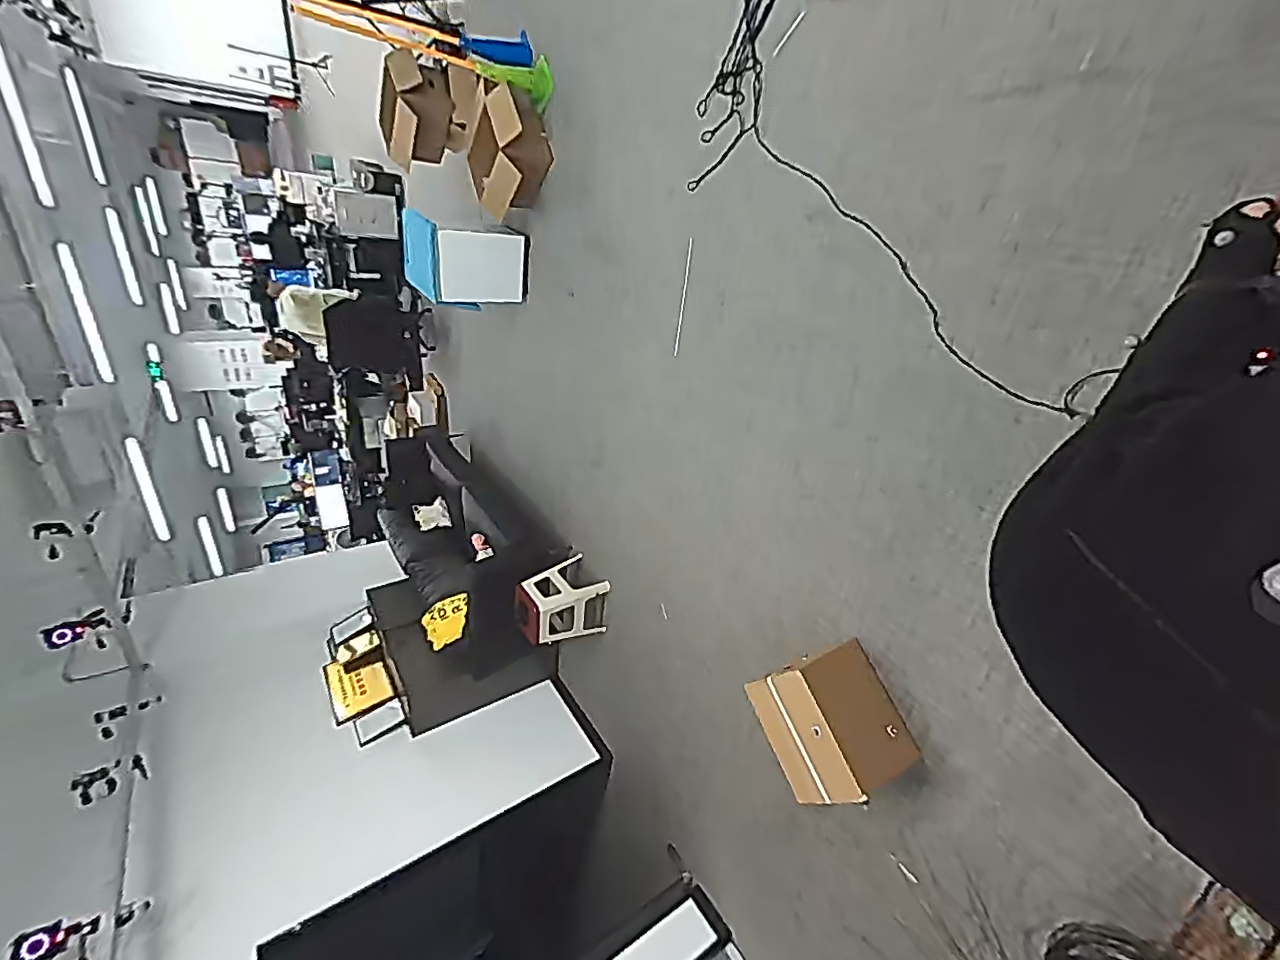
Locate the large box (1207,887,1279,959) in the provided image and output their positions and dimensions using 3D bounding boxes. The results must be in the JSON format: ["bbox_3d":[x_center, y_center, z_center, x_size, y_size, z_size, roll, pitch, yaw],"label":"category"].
[{"bbox_3d":[1.314,1.095,0.990,0.408,0.320,0.320,20,118,51],"label":"large box"}]
